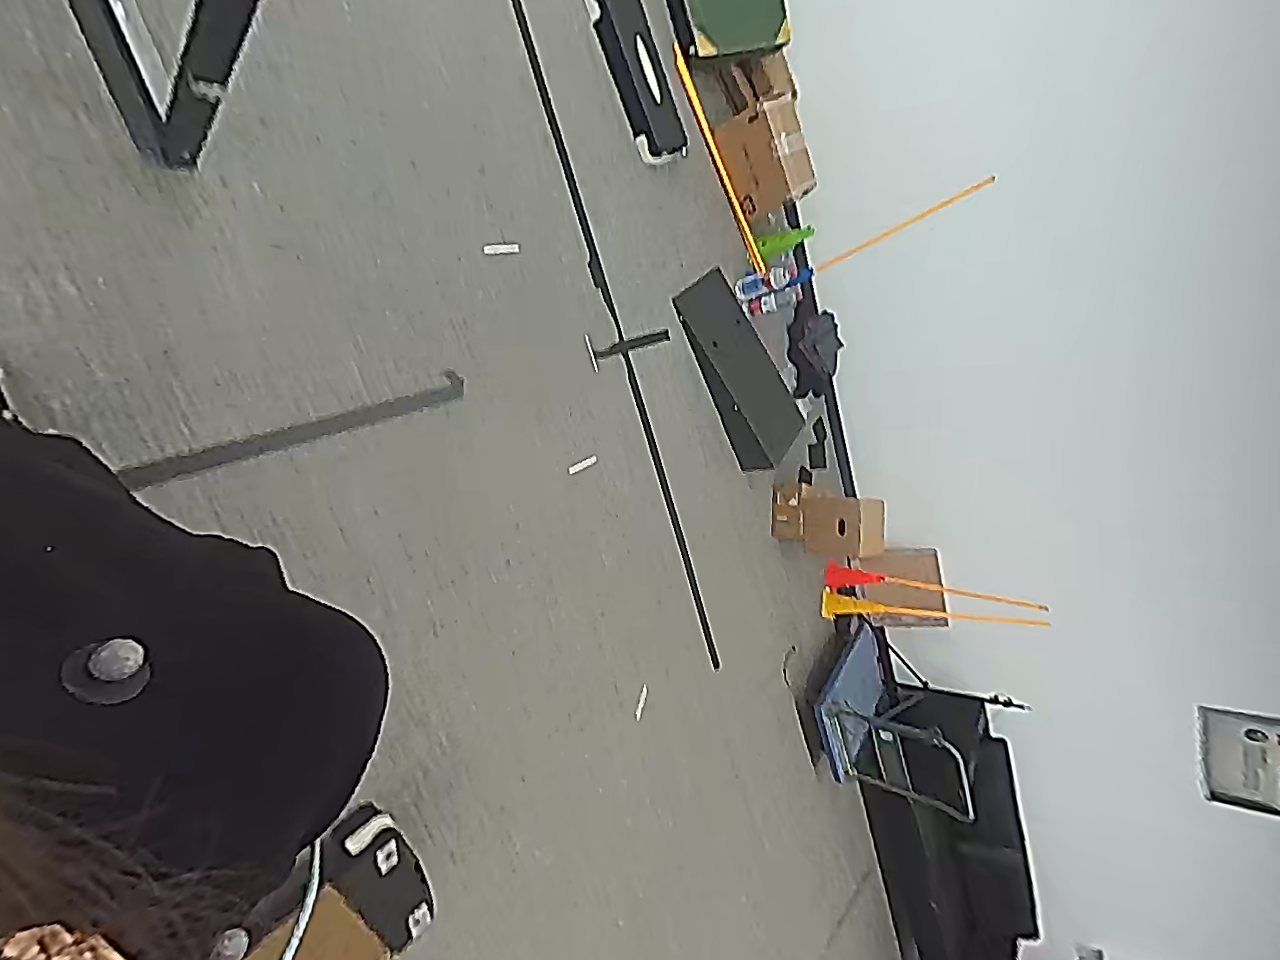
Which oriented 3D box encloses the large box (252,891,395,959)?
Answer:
[{"bbox_3d":[-0.632,1.083,0.967,0.408,0.320,0.320,-33,111,-46],"label":"large box"}]
